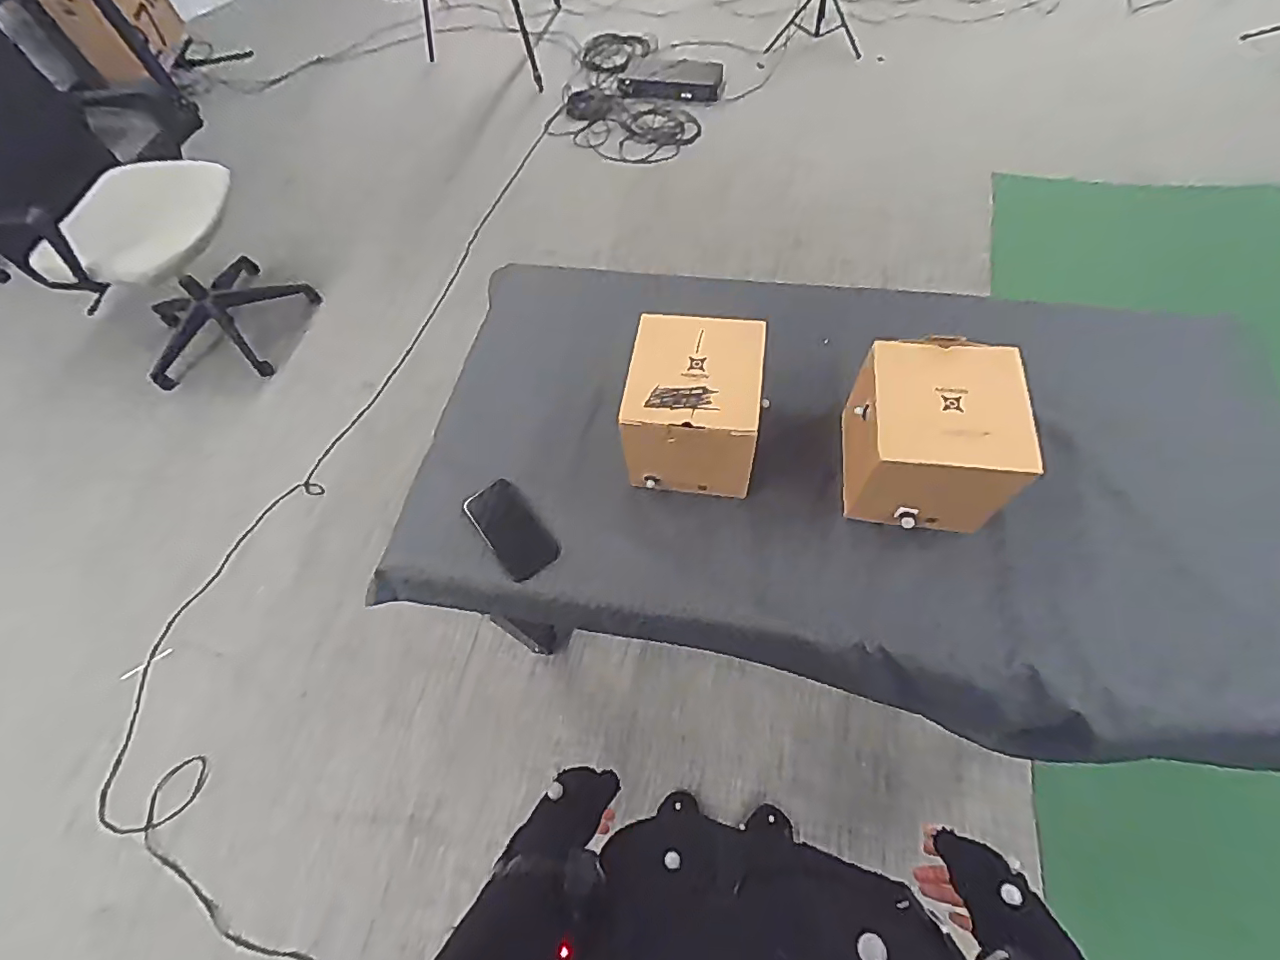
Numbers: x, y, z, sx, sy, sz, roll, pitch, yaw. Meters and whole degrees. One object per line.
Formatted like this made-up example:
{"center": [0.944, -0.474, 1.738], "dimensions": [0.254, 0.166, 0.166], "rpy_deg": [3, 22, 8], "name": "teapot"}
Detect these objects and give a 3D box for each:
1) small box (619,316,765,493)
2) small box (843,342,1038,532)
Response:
{"center": [0.075, -0.097, 0.742], "dimensions": [0.168, 0.176, 0.179], "rpy_deg": [6, 62, 8], "name": "small box"}
{"center": [0.363, -0.052, 0.693], "dimensions": [0.168, 0.176, 0.179], "rpy_deg": [5, 63, 9], "name": "small box"}
